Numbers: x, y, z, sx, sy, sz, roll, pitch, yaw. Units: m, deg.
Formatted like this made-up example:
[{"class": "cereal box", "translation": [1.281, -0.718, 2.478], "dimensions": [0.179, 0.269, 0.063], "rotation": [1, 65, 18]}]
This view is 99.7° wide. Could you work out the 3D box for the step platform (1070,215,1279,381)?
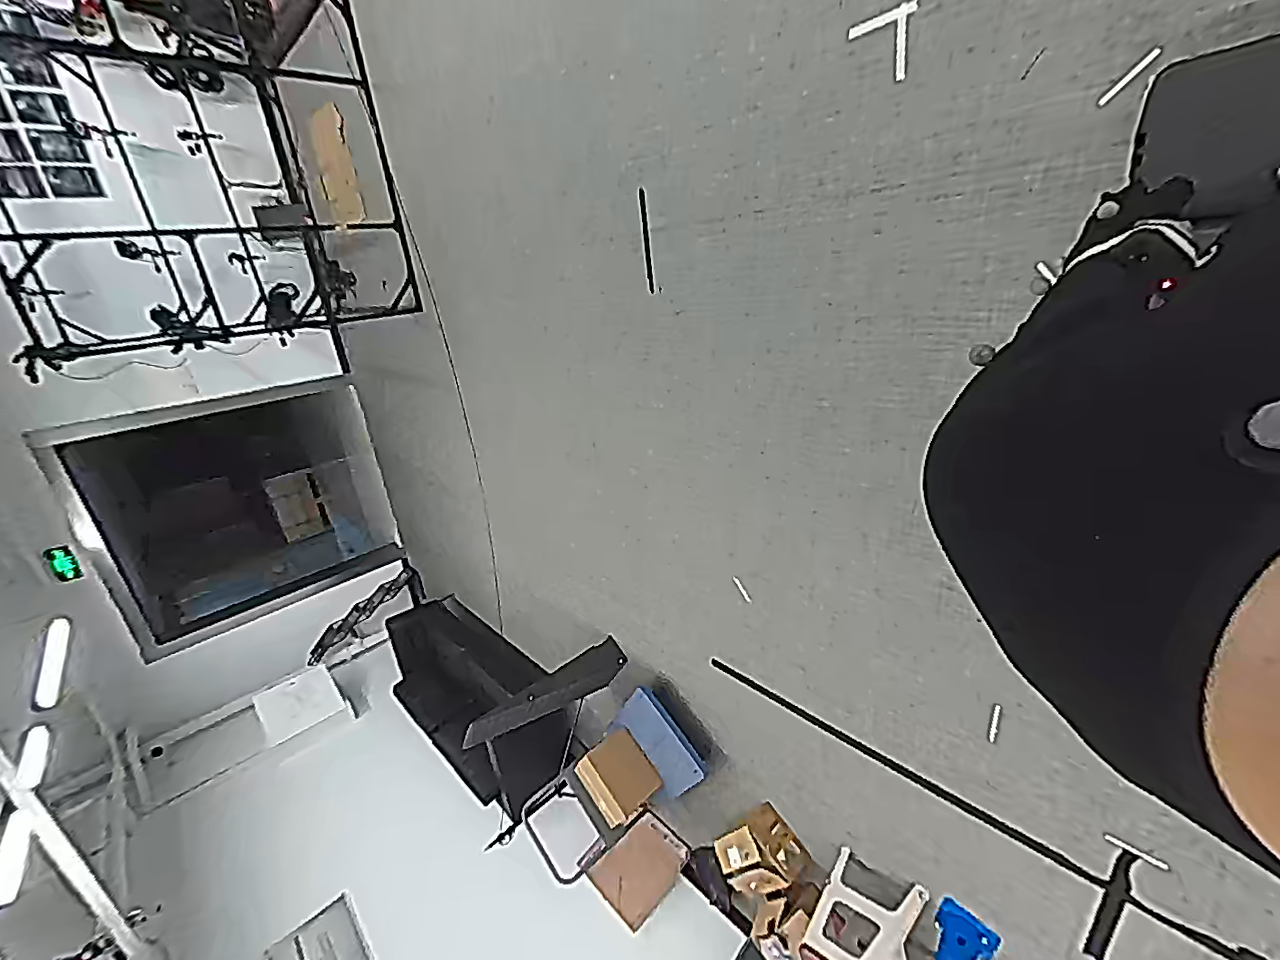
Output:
[{"class": "step platform", "translation": [1.197, -0.326, 0.953], "dimensions": [0.684, 0.204, 0.286], "rotation": [16, 120, 47]}]
